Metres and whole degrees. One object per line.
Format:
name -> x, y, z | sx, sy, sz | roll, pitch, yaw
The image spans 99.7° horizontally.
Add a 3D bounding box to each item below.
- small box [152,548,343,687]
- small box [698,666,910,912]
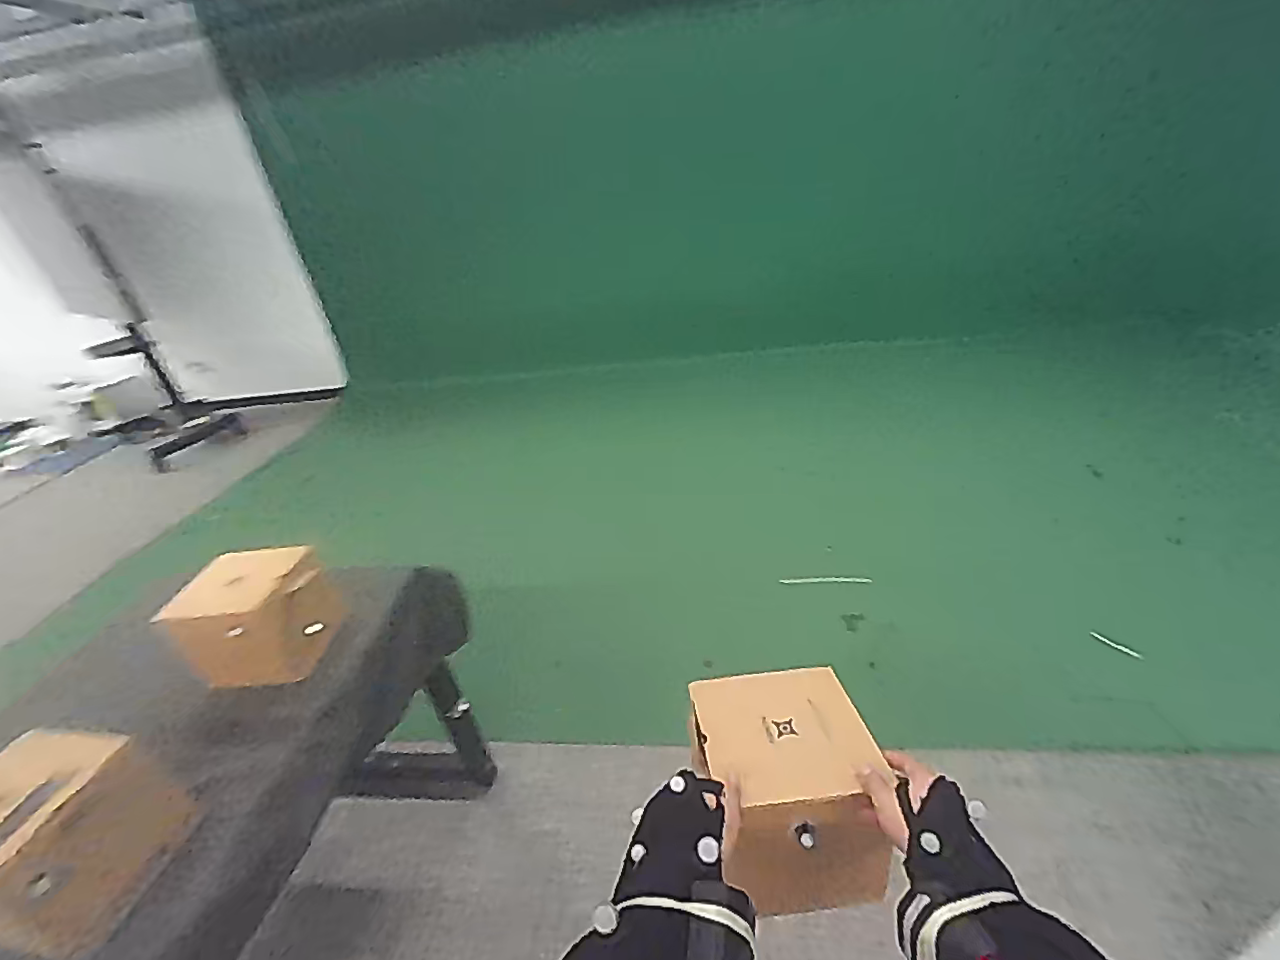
small box -> -0.668, 0.242, 0.945 | 0.179, 0.176, 0.168 | -6, 31, 4
small box -> 0.165, 0.333, 0.594 | 0.179, 0.176, 0.168 | -4, 22, -3
